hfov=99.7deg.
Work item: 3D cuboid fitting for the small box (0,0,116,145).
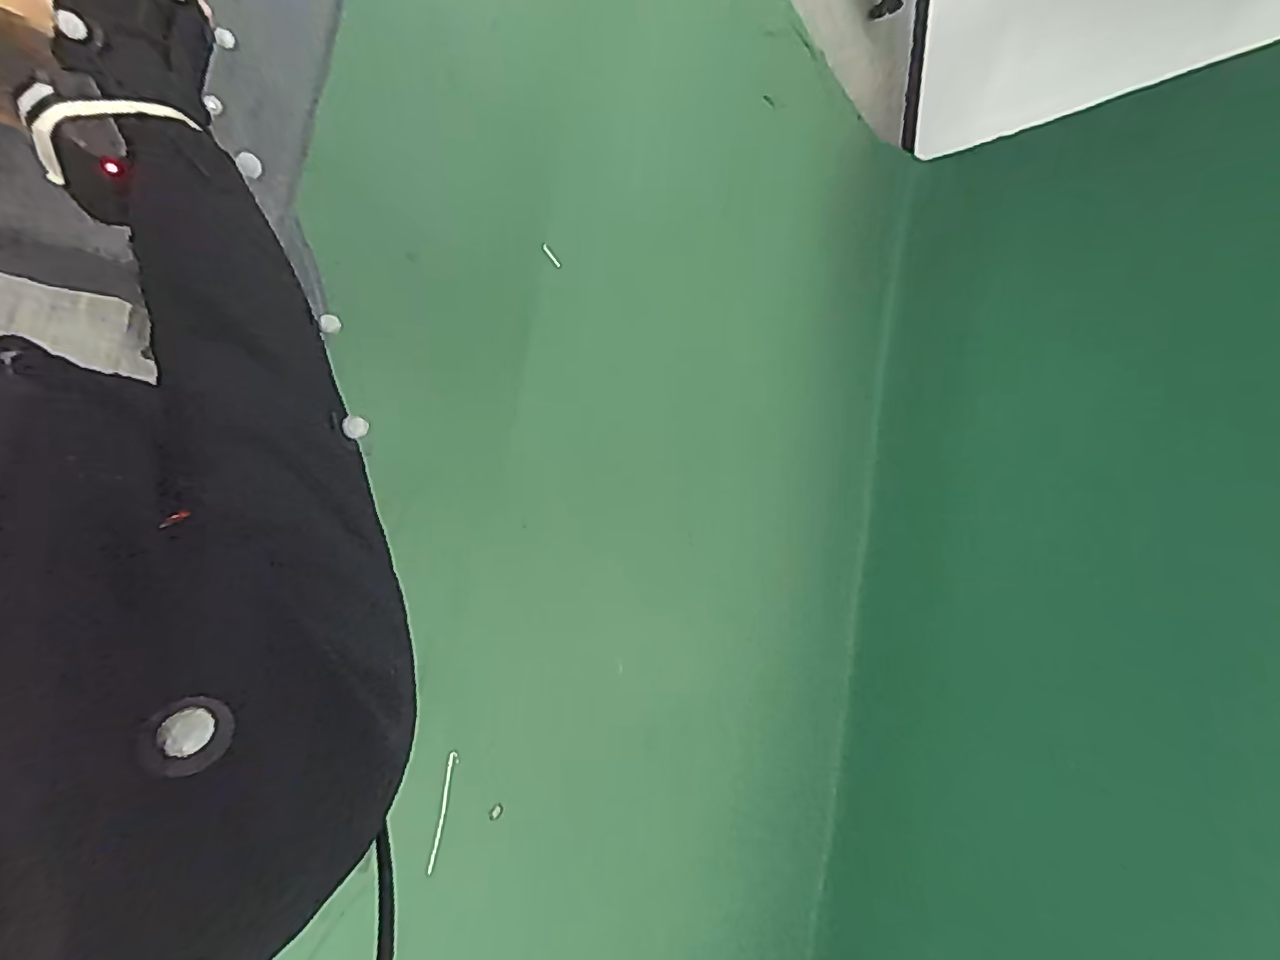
[{"bbox_3d":[-0.455,-0.367,0.348,0.168,0.176,0.179,7,88,-46],"label":"small box"}]
